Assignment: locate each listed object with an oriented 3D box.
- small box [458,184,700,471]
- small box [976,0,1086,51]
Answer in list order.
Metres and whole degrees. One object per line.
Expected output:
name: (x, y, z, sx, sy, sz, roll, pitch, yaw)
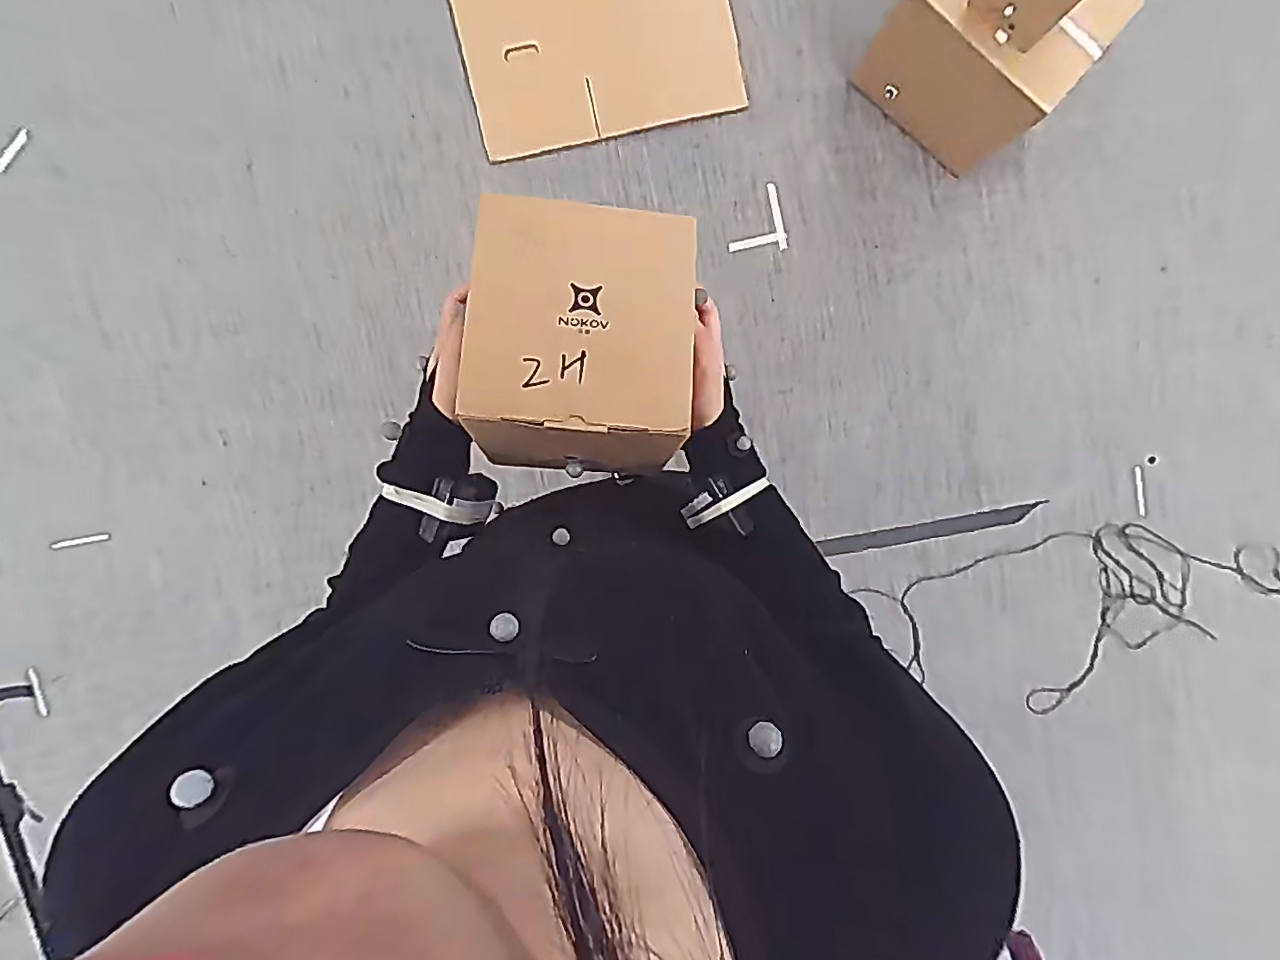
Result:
small box: (-0.047, -0.113, 0.466, 0.168, 0.176, 0.179, 3, 80, -5)
small box: (0.802, -1.000, 1.042, 0.168, 0.176, 0.179, 38, 93, -4)
